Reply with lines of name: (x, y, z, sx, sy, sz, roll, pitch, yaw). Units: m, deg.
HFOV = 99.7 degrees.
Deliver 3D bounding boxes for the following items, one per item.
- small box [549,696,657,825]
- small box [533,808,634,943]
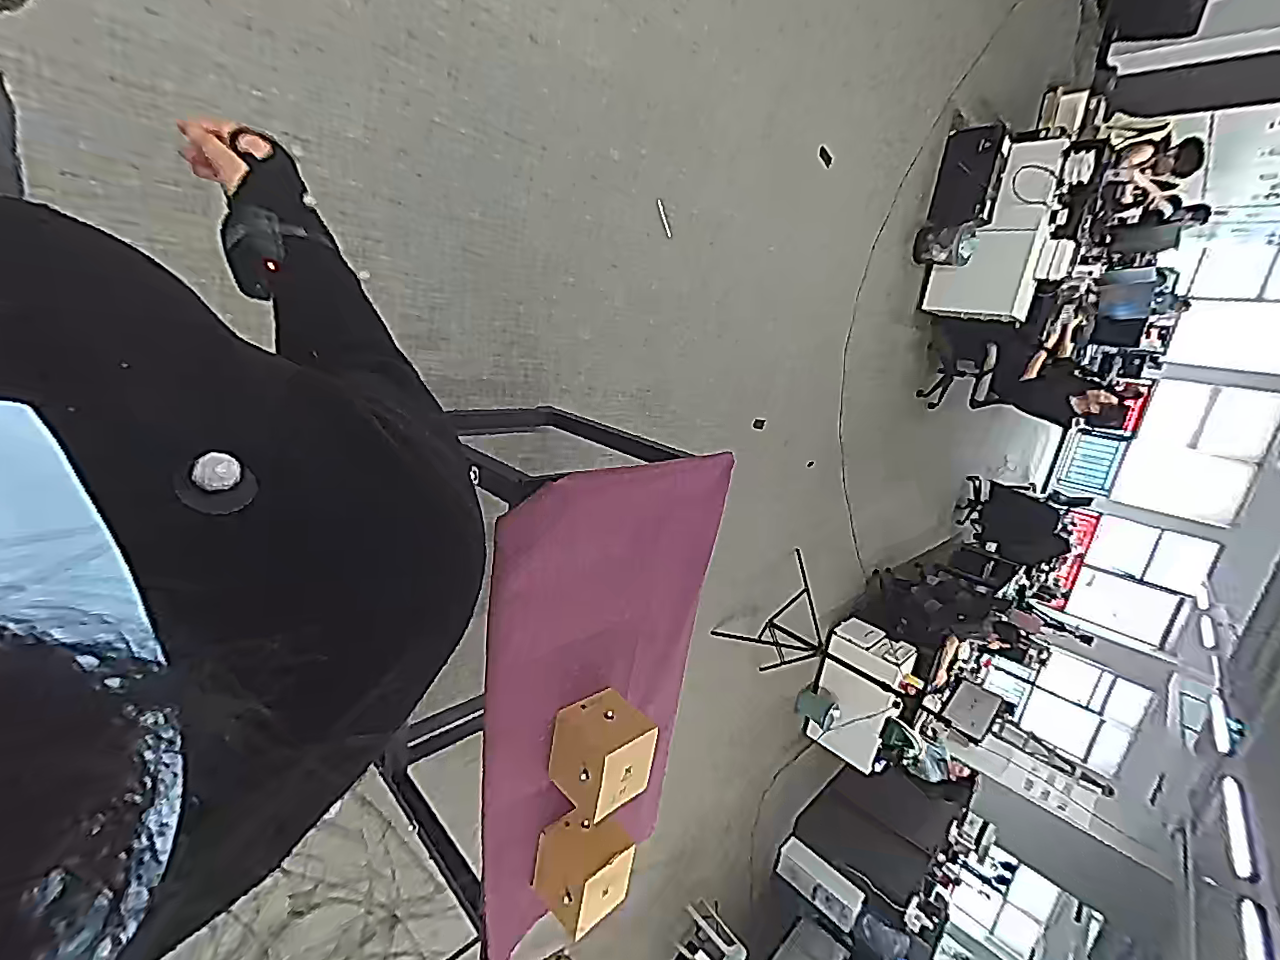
small box: (-0.089, 0.620, 1.229, 0.168, 0.176, 0.179, -4, 110, -46)
small box: (-0.142, 0.942, 1.311, 0.168, 0.176, 0.179, -4, 108, -47)
